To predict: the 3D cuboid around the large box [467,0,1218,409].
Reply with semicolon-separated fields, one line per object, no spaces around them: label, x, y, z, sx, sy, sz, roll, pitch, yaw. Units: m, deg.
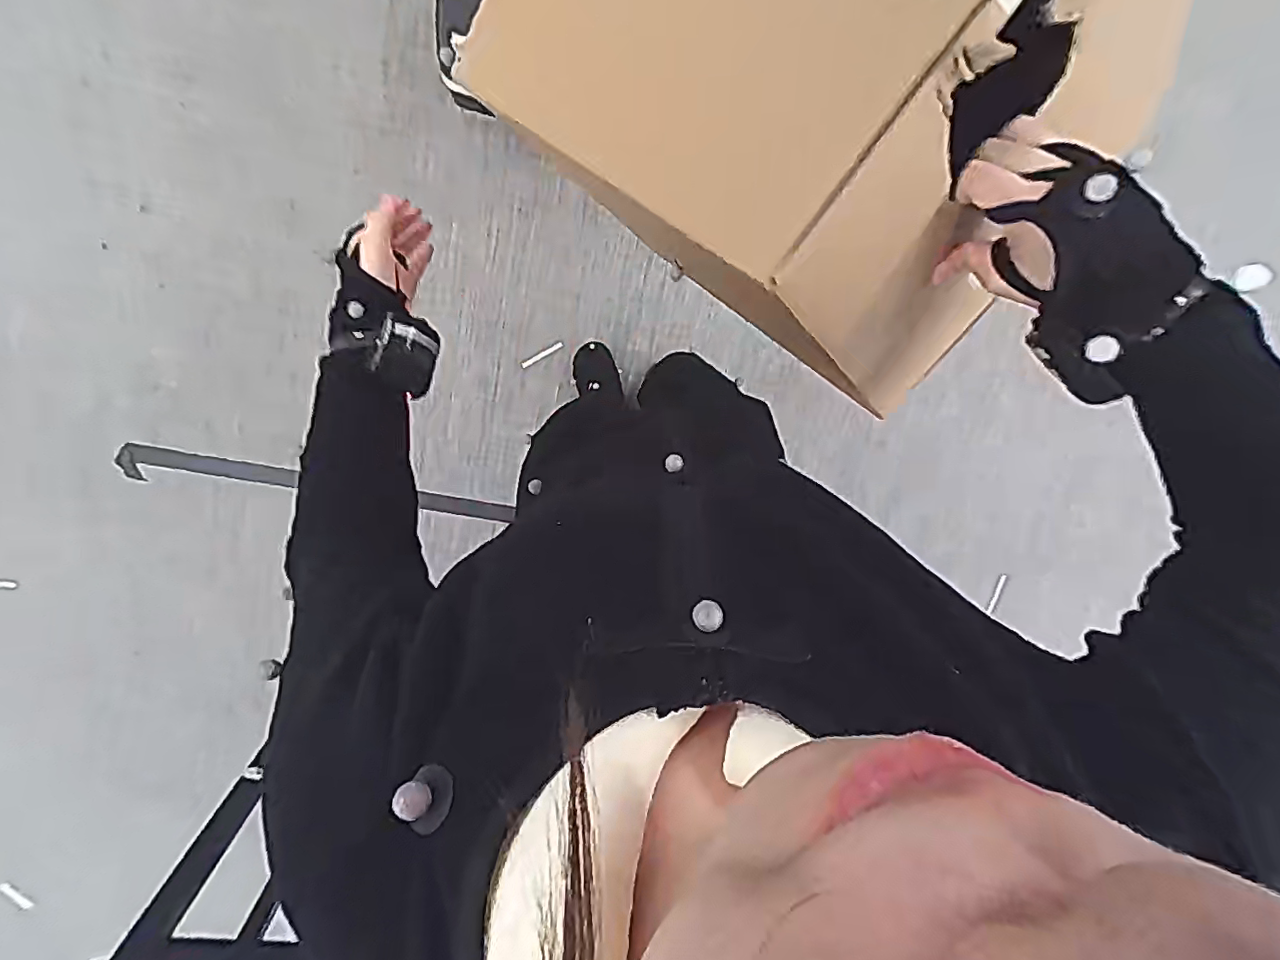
large box;0.136;-0.315;0.442;0.320;0.408;0.320;-53;147;17
